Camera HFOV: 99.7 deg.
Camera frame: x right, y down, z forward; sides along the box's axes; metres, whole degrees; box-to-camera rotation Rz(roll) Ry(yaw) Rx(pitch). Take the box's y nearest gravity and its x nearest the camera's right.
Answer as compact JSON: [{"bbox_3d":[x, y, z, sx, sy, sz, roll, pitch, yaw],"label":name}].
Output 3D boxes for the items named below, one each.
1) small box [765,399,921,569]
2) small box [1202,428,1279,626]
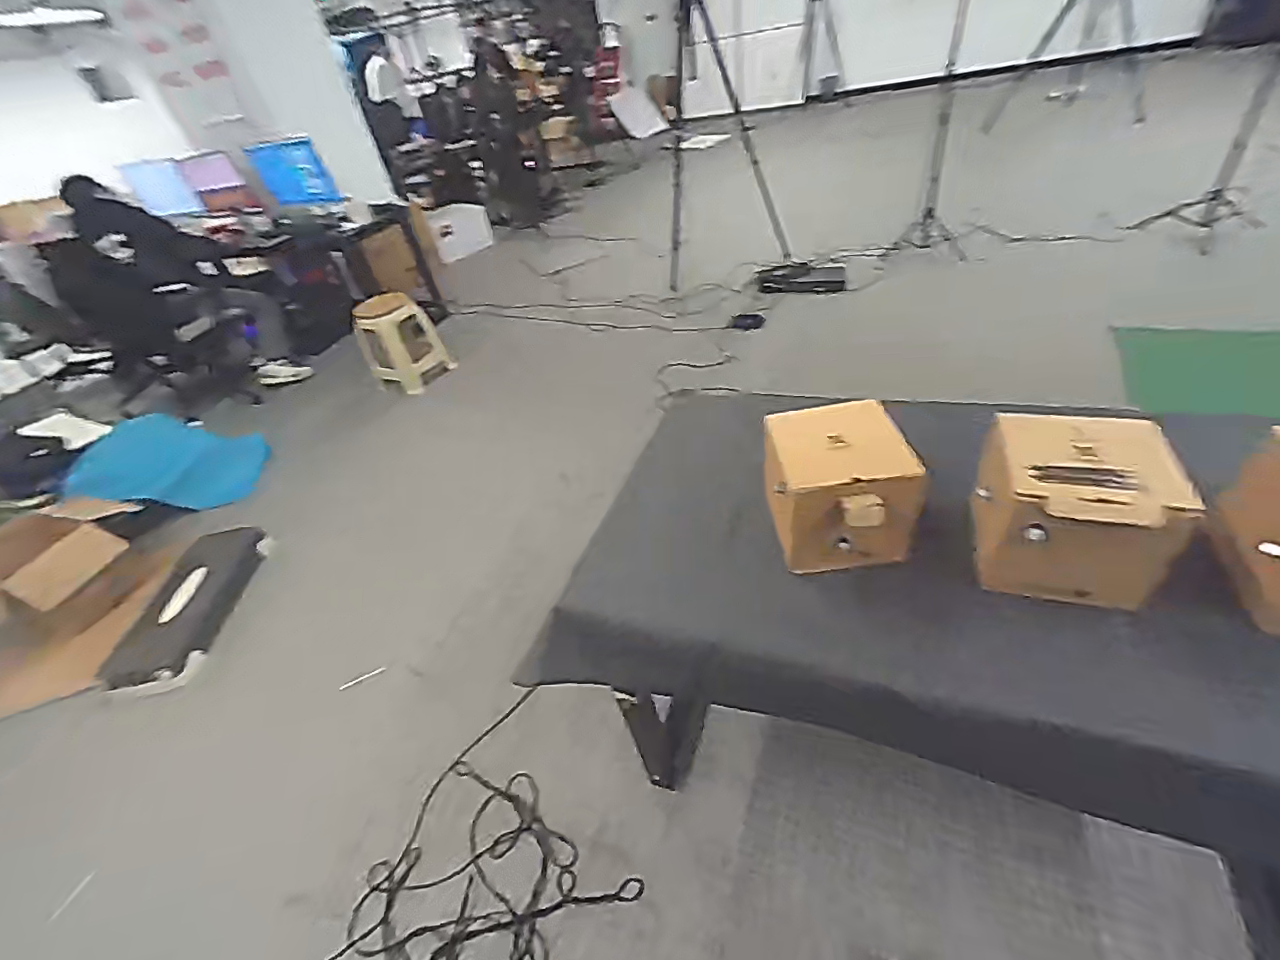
[{"bbox_3d":[0.279,0.006,0.792,0.168,0.176,0.179,-8,41,4],"label":"small box"},{"bbox_3d":[0.787,0.065,0.592,0.168,0.176,0.179,7,42,21],"label":"small box"}]
